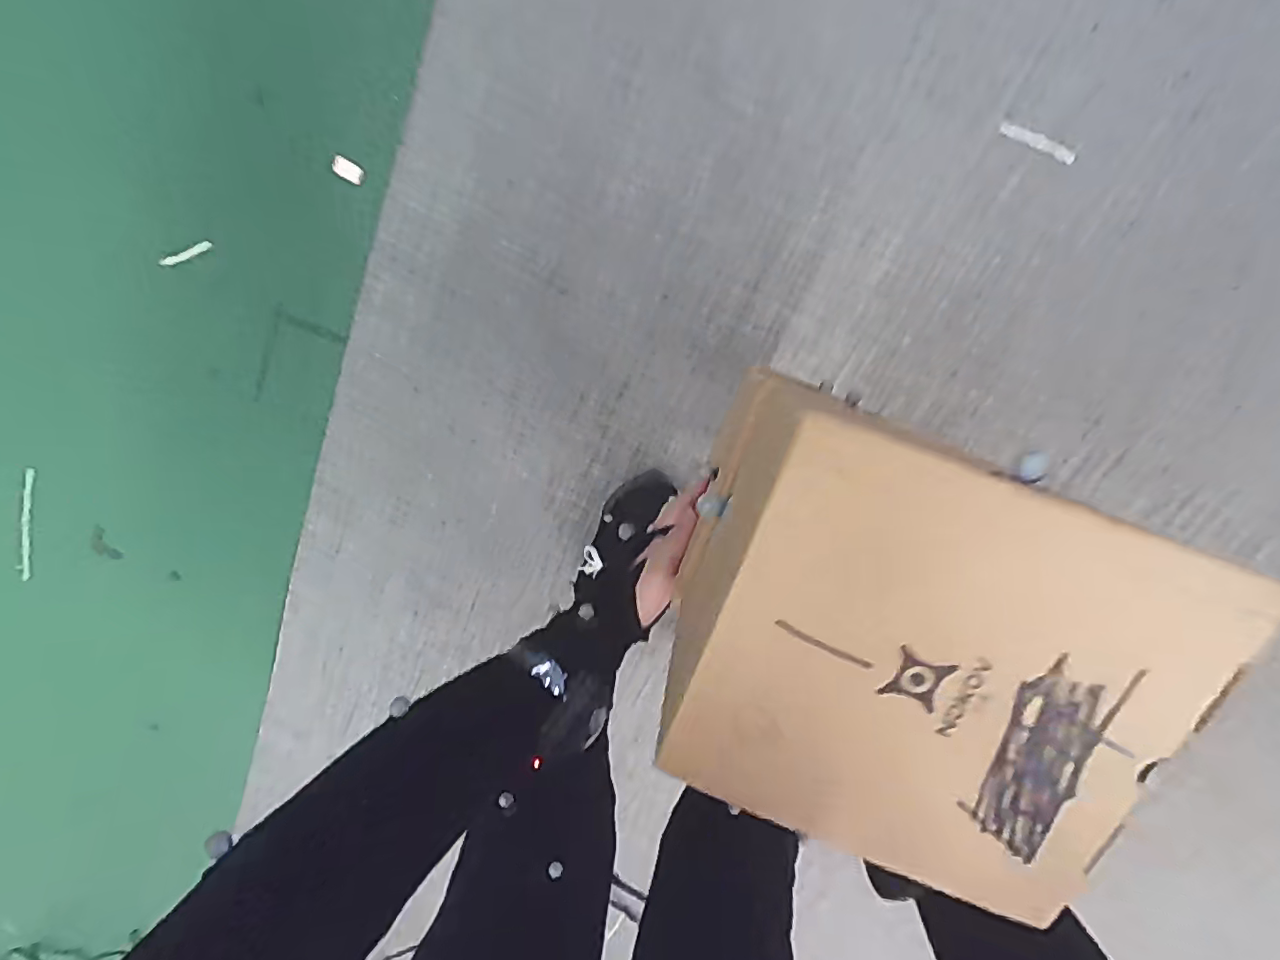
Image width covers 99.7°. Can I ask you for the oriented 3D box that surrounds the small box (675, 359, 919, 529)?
[{"bbox_3d":[0.154,-0.015,0.578,0.168,0.176,0.179,26,105,2],"label":"small box"}]

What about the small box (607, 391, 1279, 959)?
[{"bbox_3d":[0.106,0.062,0.261,0.179,0.176,0.168,22,105,4],"label":"small box"}]
